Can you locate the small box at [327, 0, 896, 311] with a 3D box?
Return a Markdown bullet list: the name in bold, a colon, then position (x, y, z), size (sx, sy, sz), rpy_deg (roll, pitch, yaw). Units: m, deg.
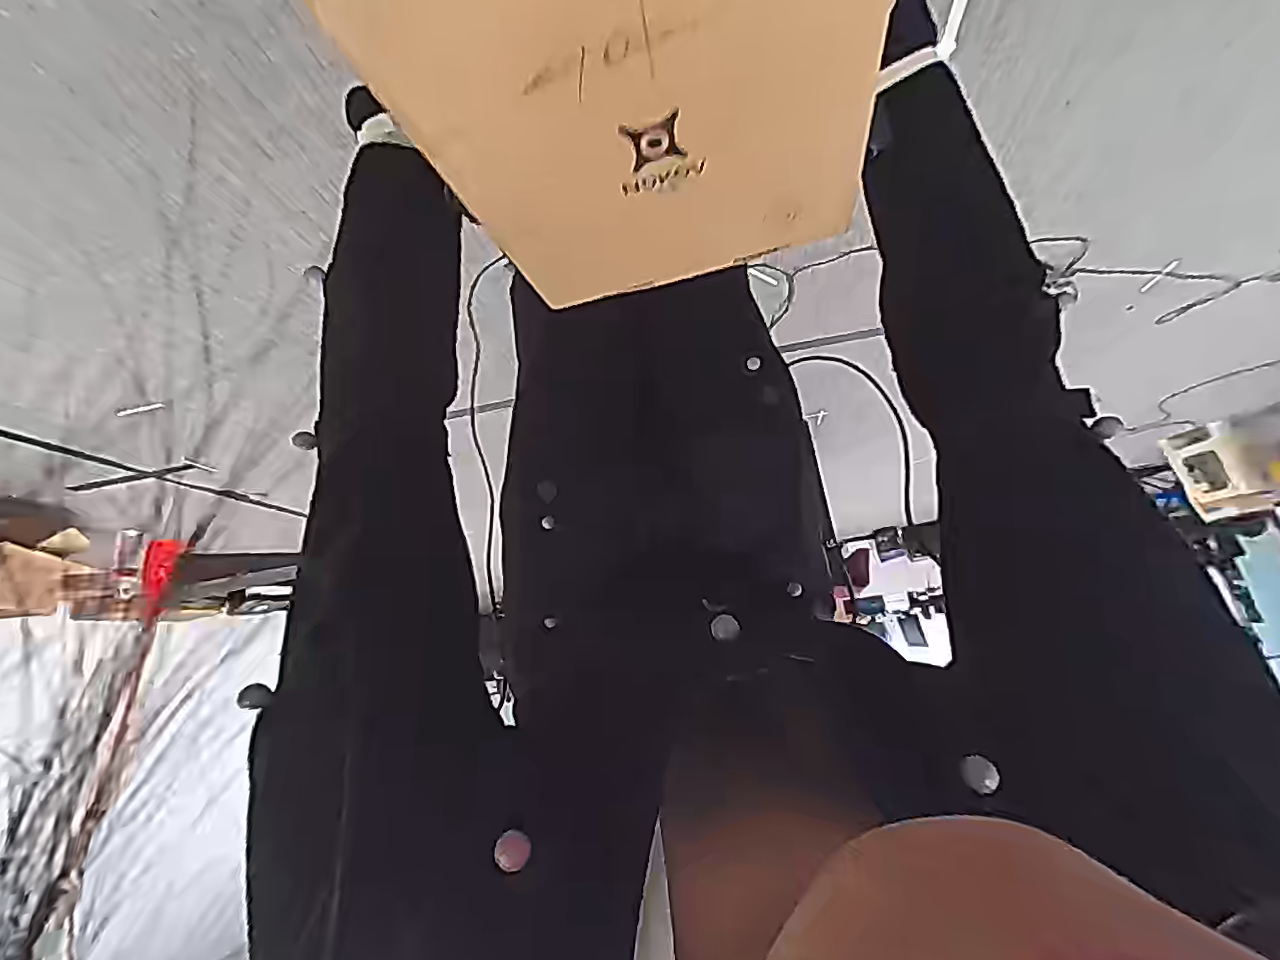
- **small box**: position (-0.001, -0.206, 0.235), size (0.168, 0.176, 0.179), rpy_deg (-11, 166, 13)
